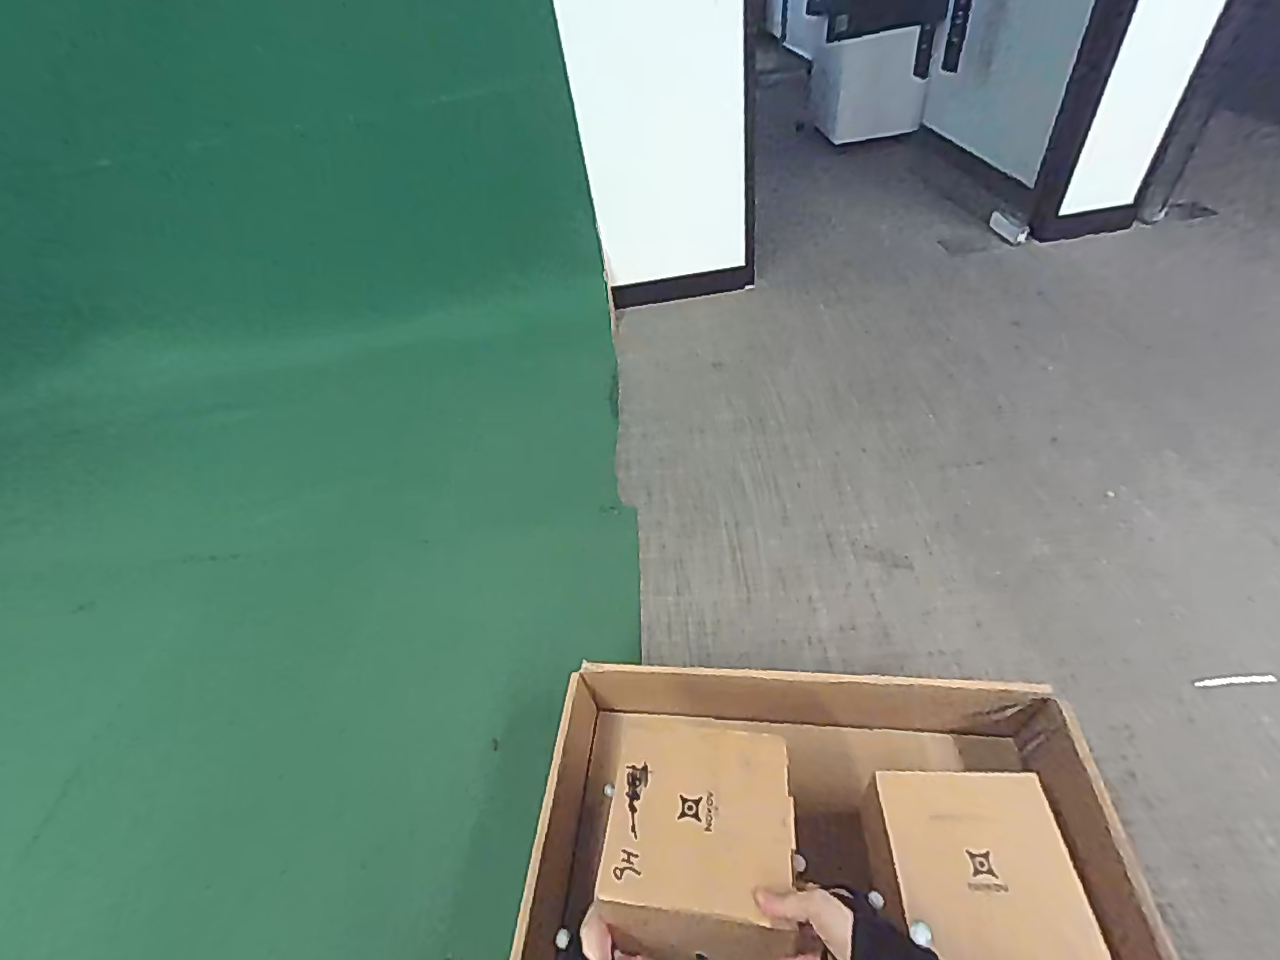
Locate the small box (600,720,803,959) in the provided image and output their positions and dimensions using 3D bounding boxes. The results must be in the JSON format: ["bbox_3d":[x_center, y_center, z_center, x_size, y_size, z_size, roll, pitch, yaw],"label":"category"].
[{"bbox_3d":[0.071,0.383,0.571,0.179,0.176,0.168,0,37,12],"label":"small box"}]
